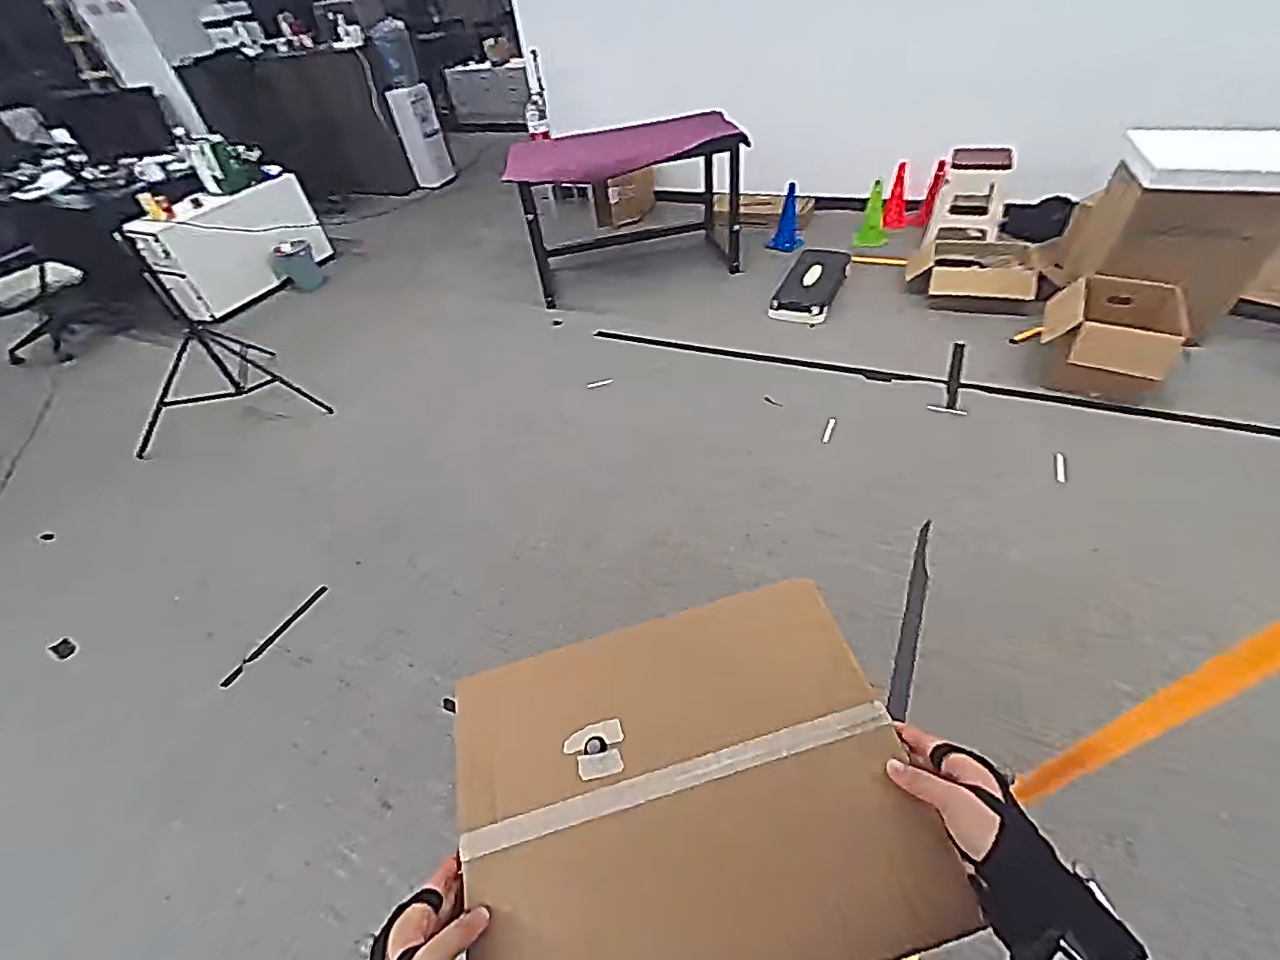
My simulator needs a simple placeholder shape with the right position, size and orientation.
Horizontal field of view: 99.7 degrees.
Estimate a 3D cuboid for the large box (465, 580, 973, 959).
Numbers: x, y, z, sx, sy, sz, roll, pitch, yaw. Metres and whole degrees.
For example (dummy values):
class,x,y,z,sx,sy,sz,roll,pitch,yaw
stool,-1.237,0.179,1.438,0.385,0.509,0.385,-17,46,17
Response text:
class,x,y,z,sx,sy,sz,roll,pitch,yaw
large box,0.061,0.372,0.621,0.408,0.320,0.320,-17,50,-3
